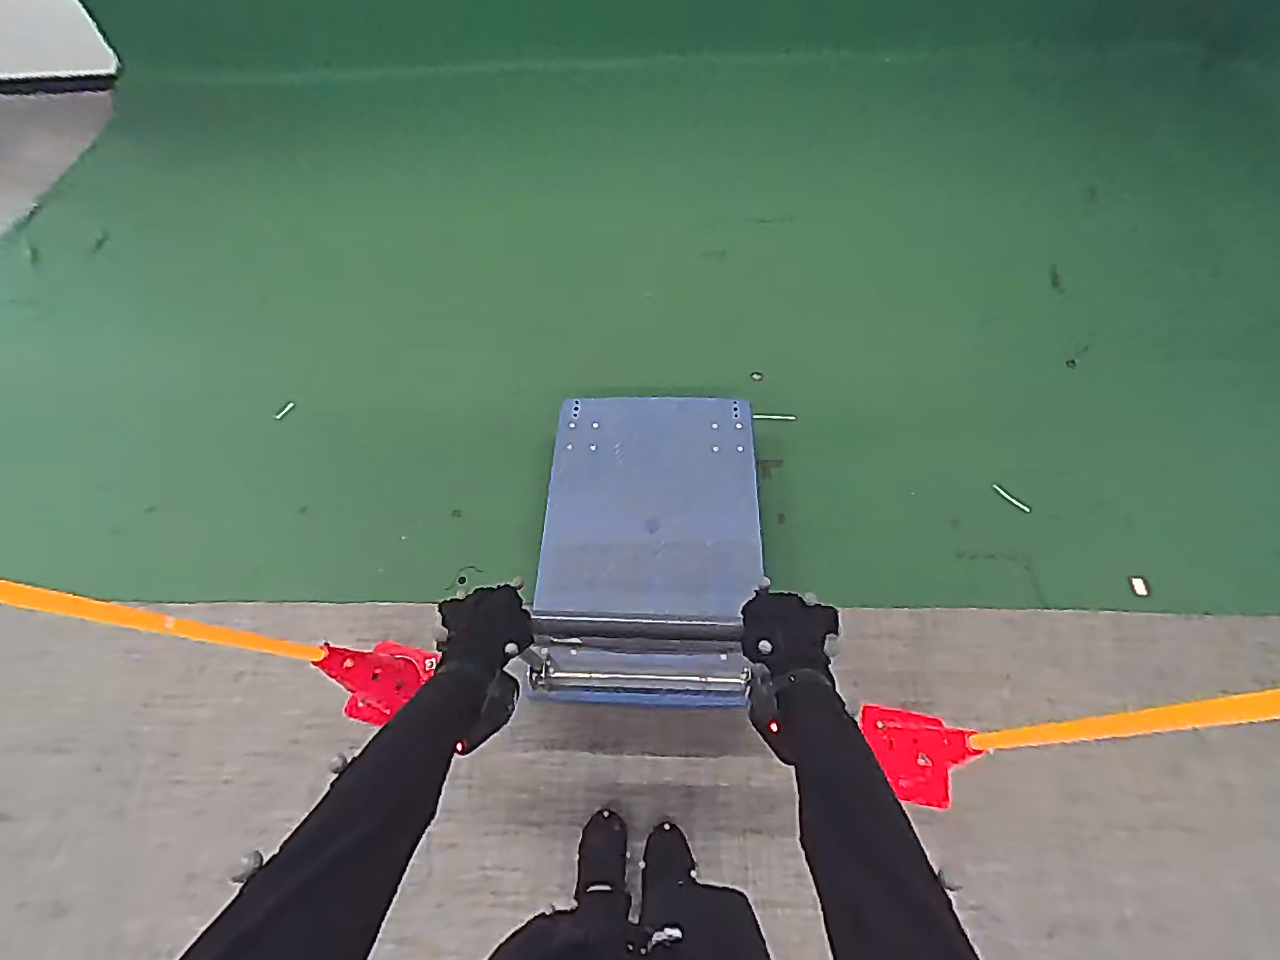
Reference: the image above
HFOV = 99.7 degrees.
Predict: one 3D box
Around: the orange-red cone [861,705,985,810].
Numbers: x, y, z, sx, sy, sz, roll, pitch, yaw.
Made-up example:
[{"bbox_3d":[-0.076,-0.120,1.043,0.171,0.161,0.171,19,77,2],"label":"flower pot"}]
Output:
[{"bbox_3d":[0.623,0.570,1.141,0.198,0.360,0.199,10,61,9],"label":"orange-red cone"}]
